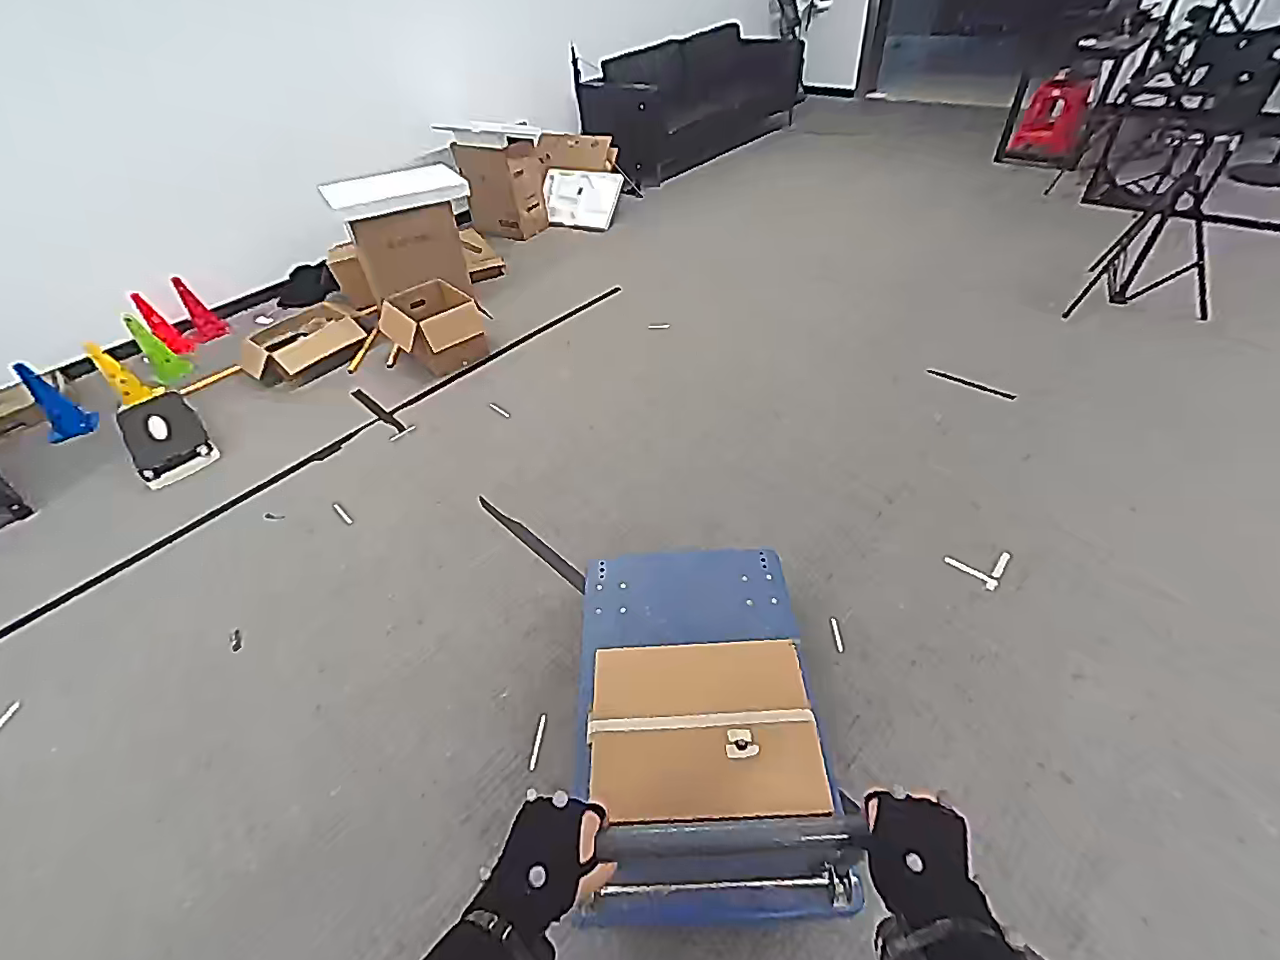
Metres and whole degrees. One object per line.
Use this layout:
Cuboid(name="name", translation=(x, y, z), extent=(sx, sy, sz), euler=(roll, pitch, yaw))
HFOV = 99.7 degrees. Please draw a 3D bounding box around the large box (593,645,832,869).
Cuboid(name="large box", translation=(0.121, 0.560, 1.091), extent=(0.408, 0.320, 0.320), euler=(-4, 45, 2))
